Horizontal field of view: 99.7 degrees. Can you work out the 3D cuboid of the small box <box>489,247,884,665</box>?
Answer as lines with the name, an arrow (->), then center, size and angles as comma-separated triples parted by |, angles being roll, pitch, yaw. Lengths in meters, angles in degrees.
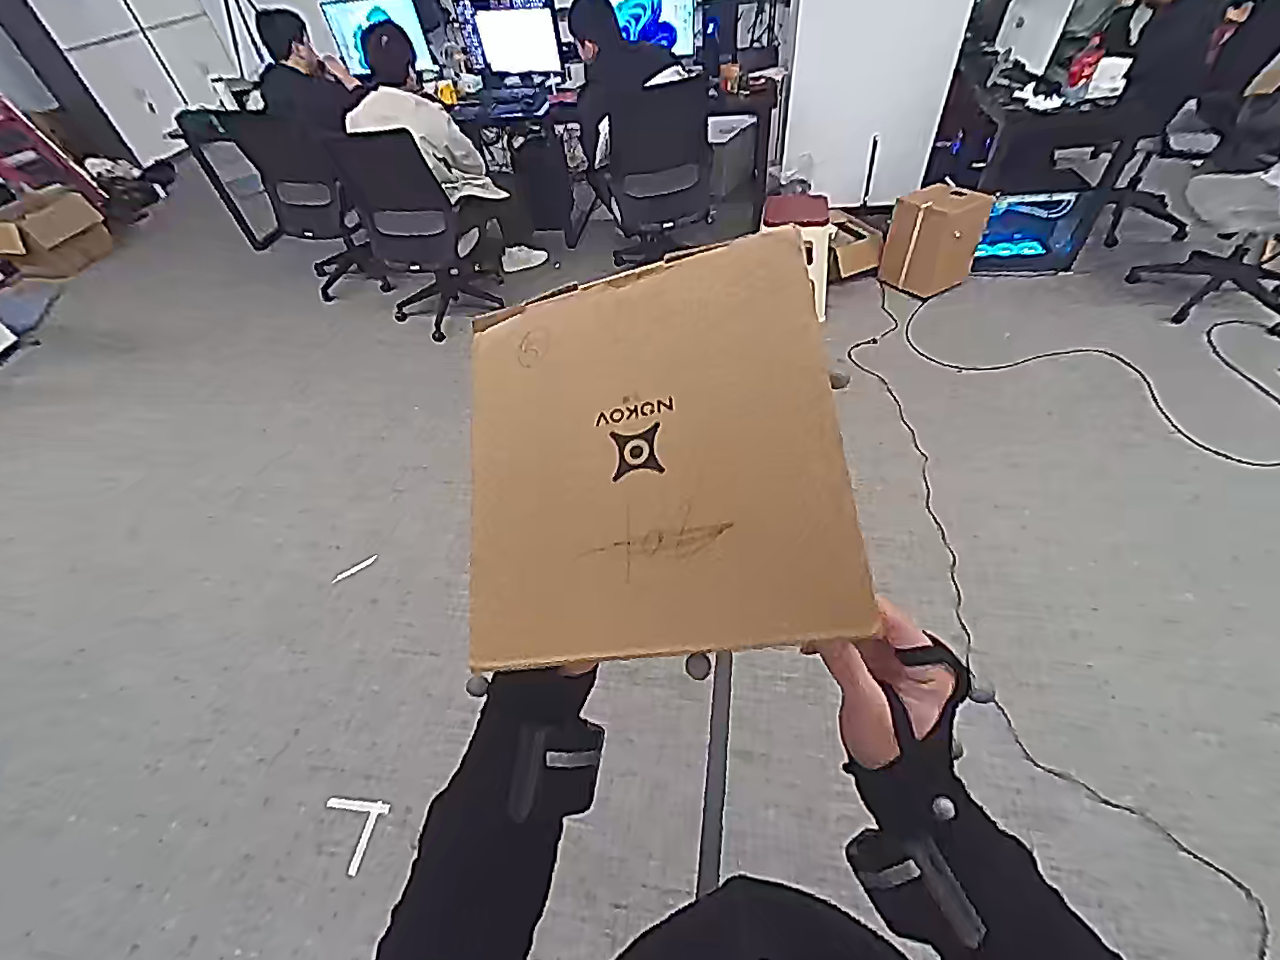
small box -> 0.029, 0.008, 0.317 | 0.168, 0.176, 0.179 | -11, 72, 16
